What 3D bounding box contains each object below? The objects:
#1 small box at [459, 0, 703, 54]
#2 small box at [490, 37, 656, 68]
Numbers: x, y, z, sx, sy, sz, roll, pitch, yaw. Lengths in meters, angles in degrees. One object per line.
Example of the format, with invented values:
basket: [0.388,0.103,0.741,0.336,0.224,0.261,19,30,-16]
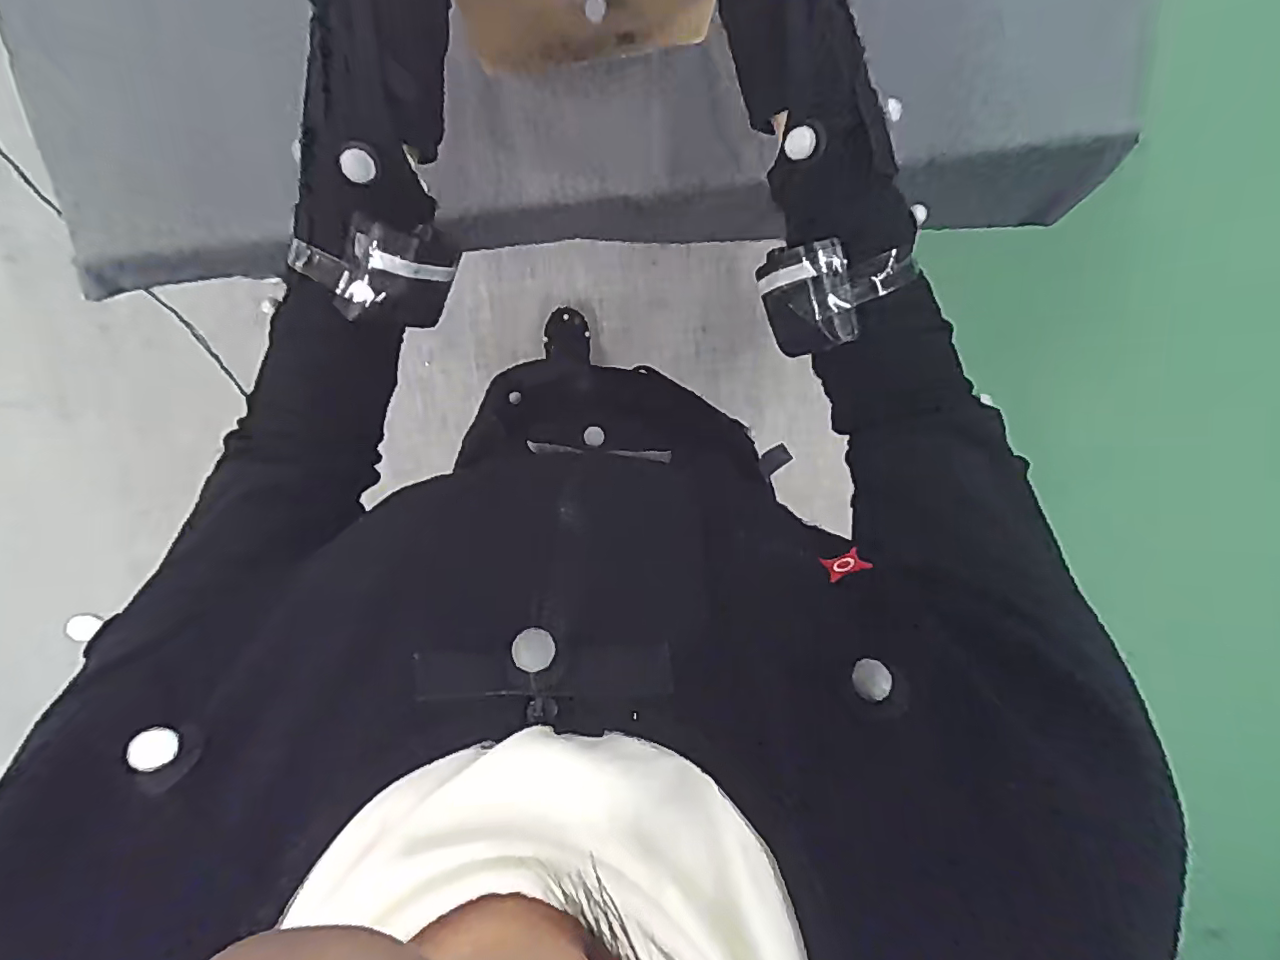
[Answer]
small box: [-0.045,-0.381,0.305,0.168,0.176,0.179,-10,103,0]
small box: [-0.071,-0.506,0.484,0.179,0.176,0.168,-10,104,-4]
